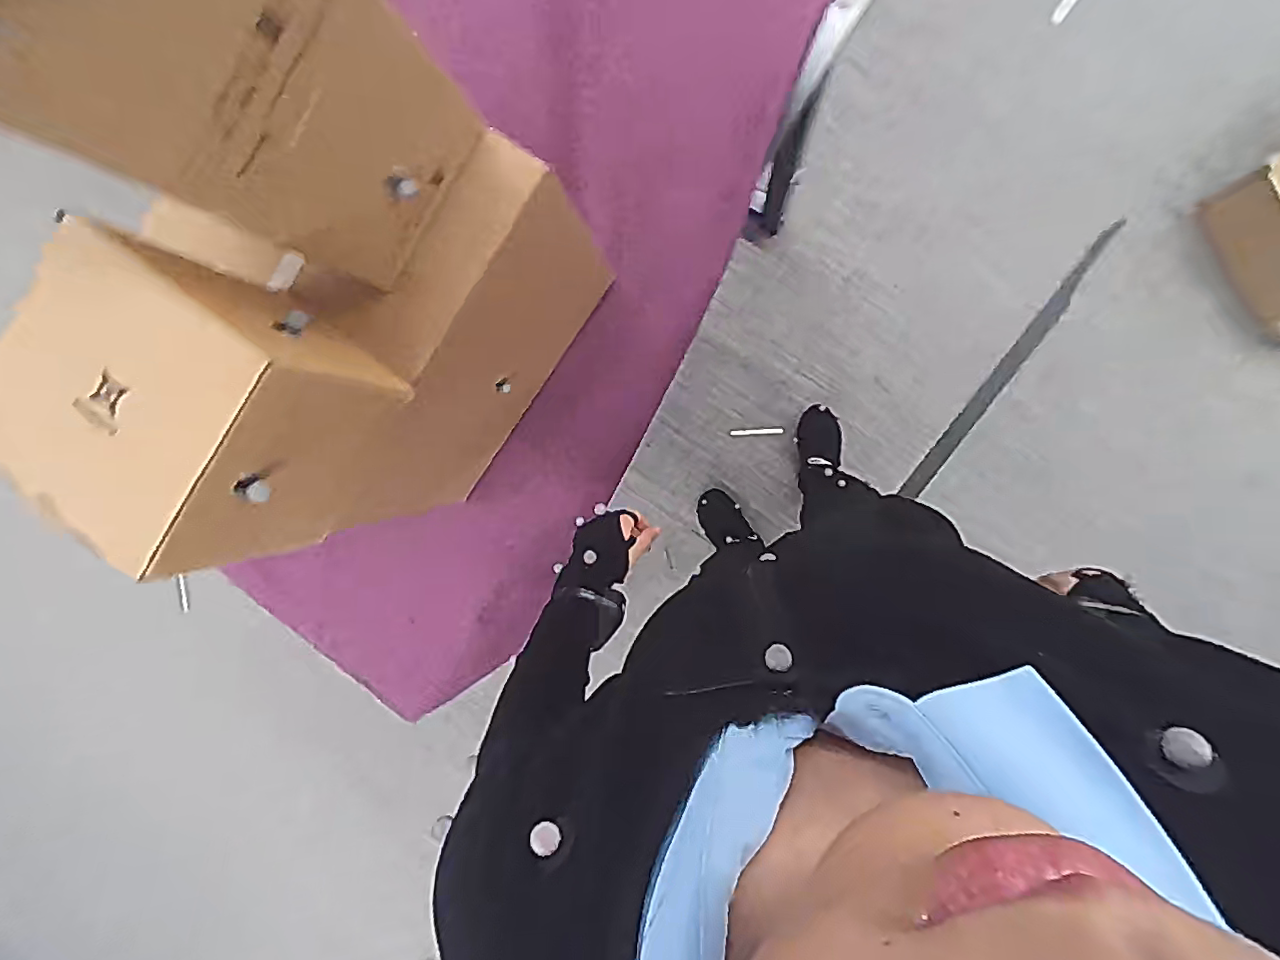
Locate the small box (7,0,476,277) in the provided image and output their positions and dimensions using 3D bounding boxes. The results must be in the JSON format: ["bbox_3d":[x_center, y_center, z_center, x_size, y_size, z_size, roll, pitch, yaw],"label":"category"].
[{"bbox_3d":[-0.257,-0.274,0.387,0.179,0.176,0.168,35,99,5],"label":"small box"}]

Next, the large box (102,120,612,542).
[{"bbox_3d":[-0.286,-0.199,0.645,0.320,0.320,0.408,35,99,6],"label":"large box"}]
